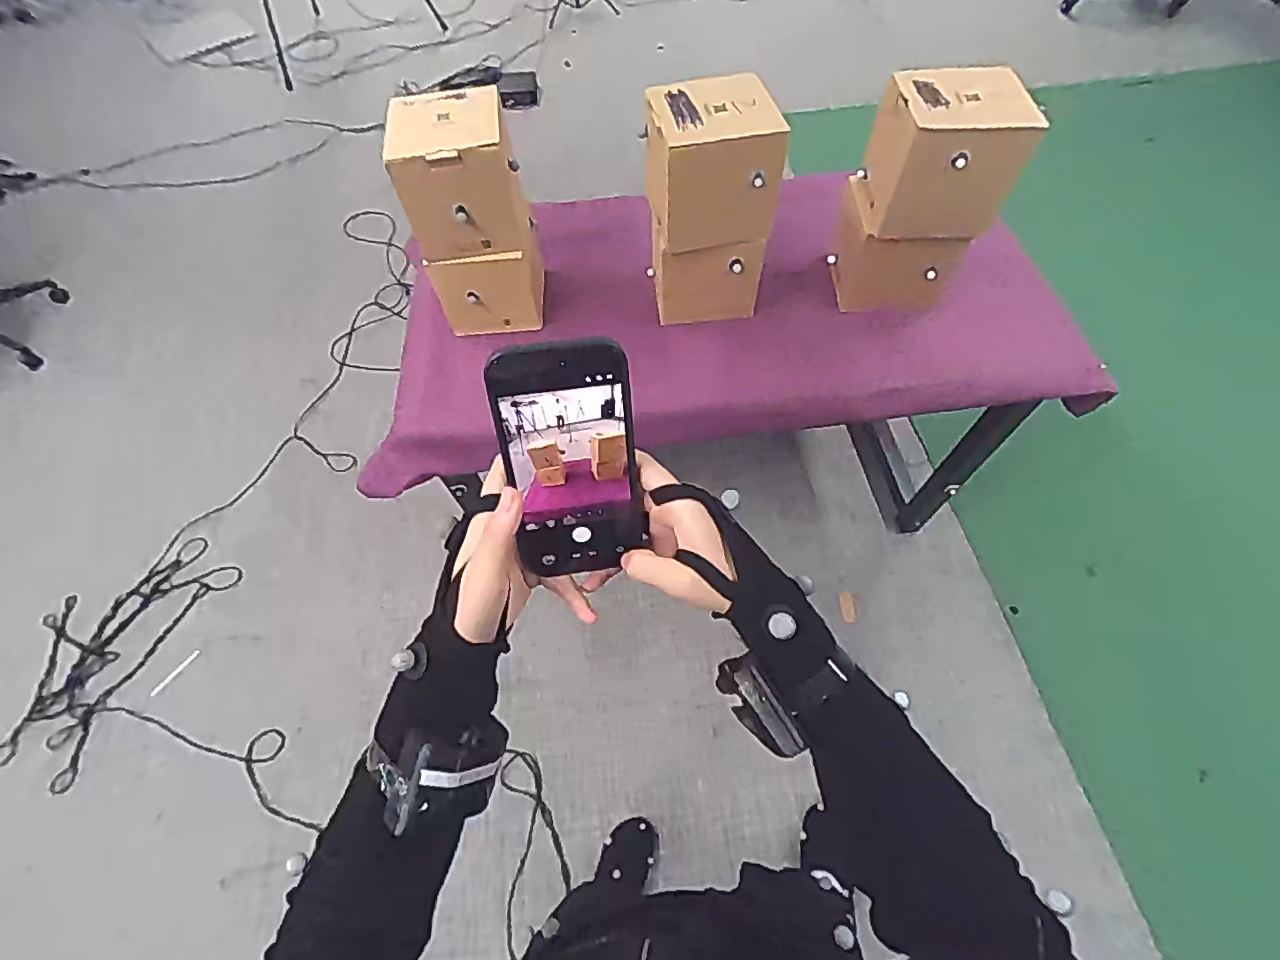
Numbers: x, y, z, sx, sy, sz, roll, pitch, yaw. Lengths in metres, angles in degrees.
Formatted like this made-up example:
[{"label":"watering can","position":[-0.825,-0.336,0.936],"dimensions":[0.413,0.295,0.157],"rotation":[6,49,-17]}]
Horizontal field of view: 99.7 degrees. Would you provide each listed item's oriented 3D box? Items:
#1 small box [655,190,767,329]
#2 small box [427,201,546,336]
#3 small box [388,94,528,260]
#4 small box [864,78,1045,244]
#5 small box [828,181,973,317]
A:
[{"label":"small box","position":[0.119,-0.398,0.988],"dimensions":[0.179,0.176,0.168],"rotation":[-5,59,0]},{"label":"small box","position":[-0.271,-0.382,1.000],"dimensions":[0.168,0.176,0.179],"rotation":[-4,59,0]},{"label":"small box","position":[-0.279,-0.472,0.863],"dimensions":[0.168,0.176,0.179],"rotation":[-9,60,-3]},{"label":"small box","position":[0.462,-0.485,0.834],"dimensions":[0.179,0.176,0.168],"rotation":[0,59,2]},{"label":"small box","position":[0.459,-0.414,0.982],"dimensions":[0.179,0.176,0.168],"rotation":[0,59,3]}]
